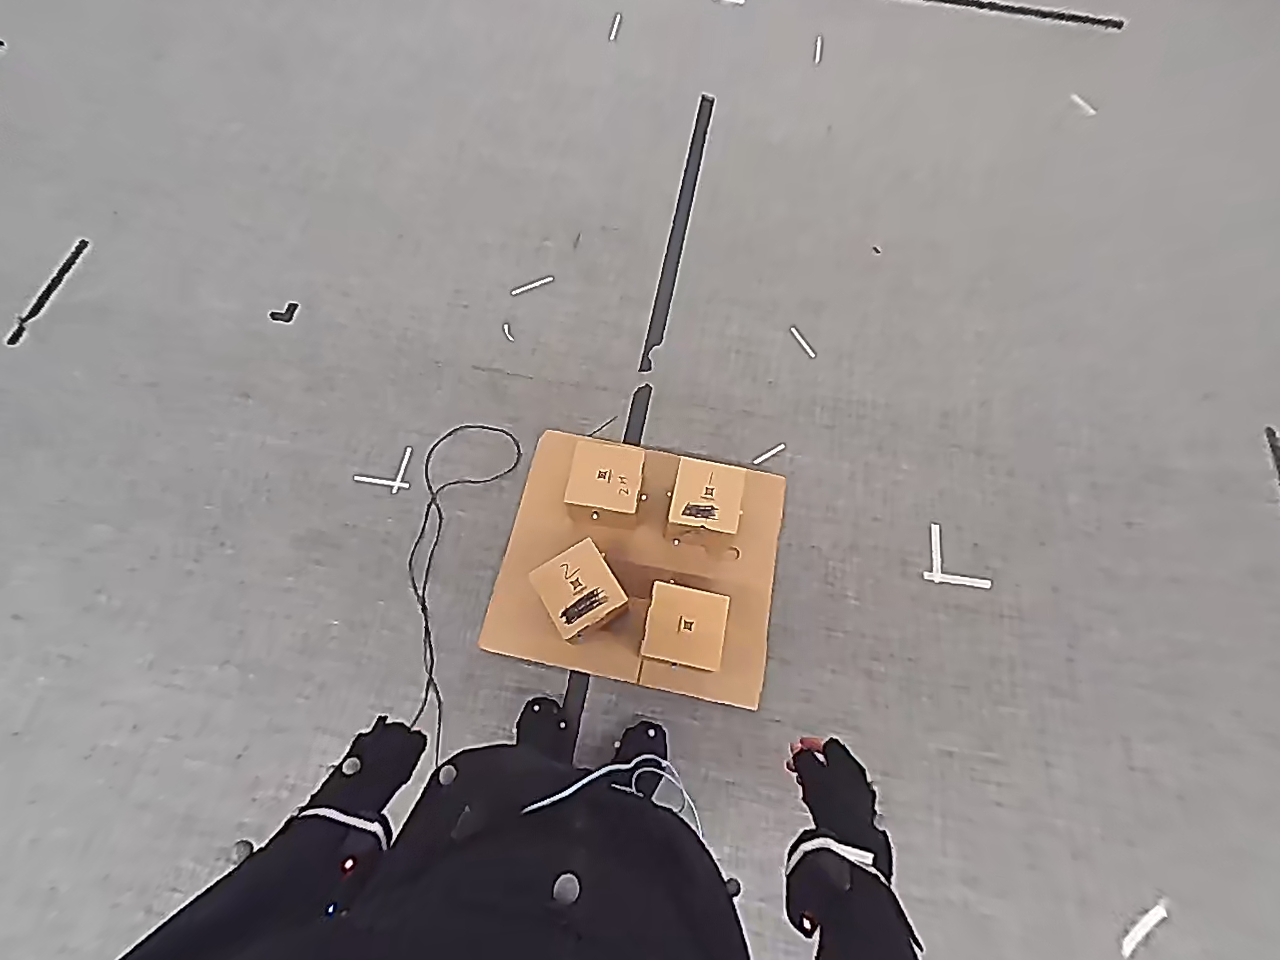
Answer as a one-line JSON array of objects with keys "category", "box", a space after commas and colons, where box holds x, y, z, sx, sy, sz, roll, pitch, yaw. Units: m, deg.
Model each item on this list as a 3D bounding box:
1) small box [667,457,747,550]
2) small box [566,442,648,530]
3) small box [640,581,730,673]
[{"category": "small box", "box": [0.165, 0.067, 1.377, 0.168, 0.176, 0.179, 12, 69, 4]}, {"category": "small box", "box": [-0.080, 0.021, 1.385, 0.179, 0.176, 0.168, 10, 70, 2]}, {"category": "small box", "box": [0.101, 0.349, 1.273, 0.179, 0.176, 0.168, 12, 70, 5]}]
